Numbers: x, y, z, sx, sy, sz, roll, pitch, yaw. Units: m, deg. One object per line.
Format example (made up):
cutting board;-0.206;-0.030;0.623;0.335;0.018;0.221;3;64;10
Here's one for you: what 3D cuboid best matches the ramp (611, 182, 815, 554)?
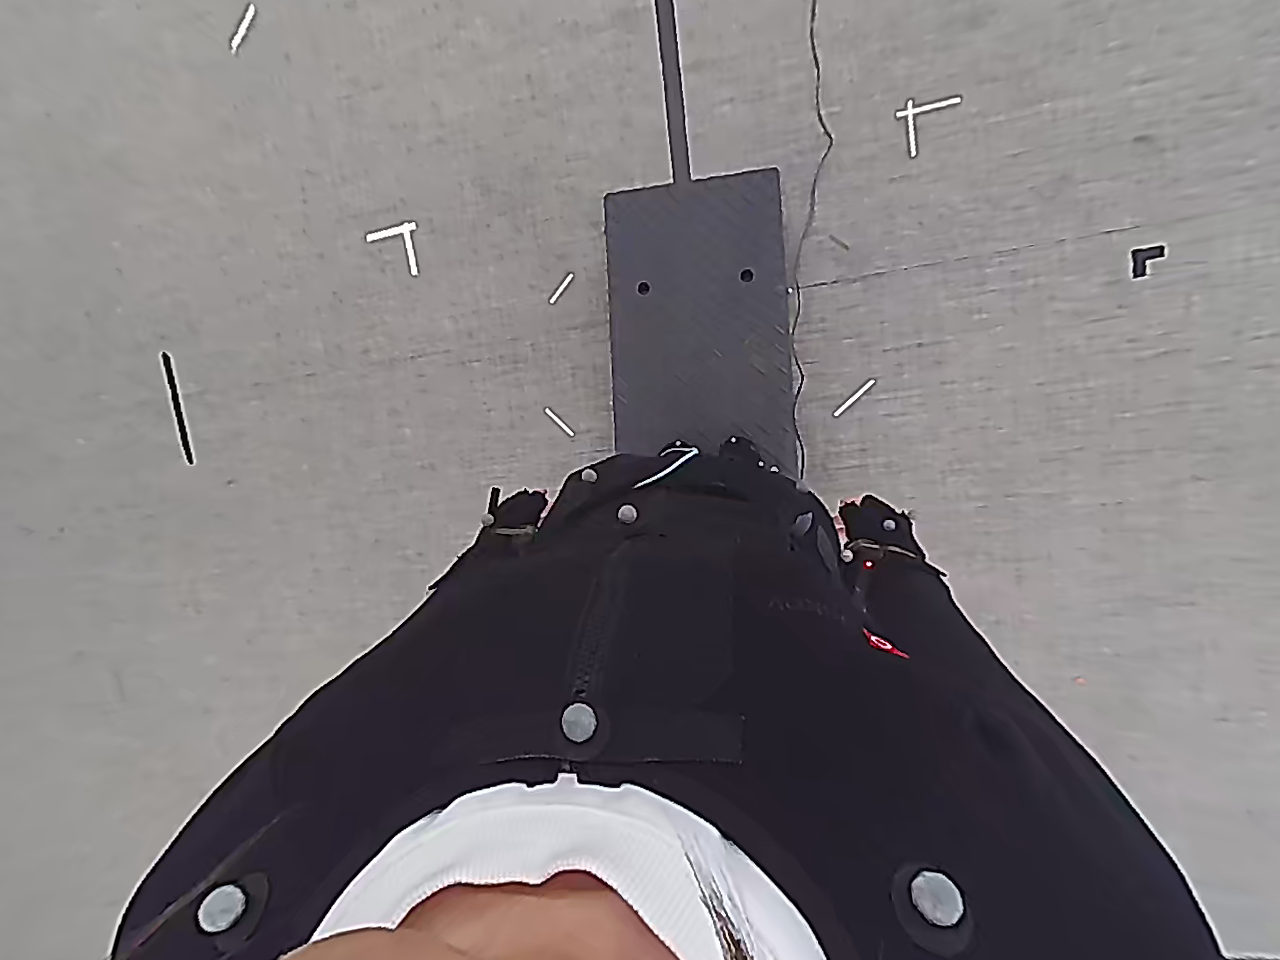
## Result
ramp;0.182;-0.309;1.493;0.509;0.206;0.991;-7;94;13
